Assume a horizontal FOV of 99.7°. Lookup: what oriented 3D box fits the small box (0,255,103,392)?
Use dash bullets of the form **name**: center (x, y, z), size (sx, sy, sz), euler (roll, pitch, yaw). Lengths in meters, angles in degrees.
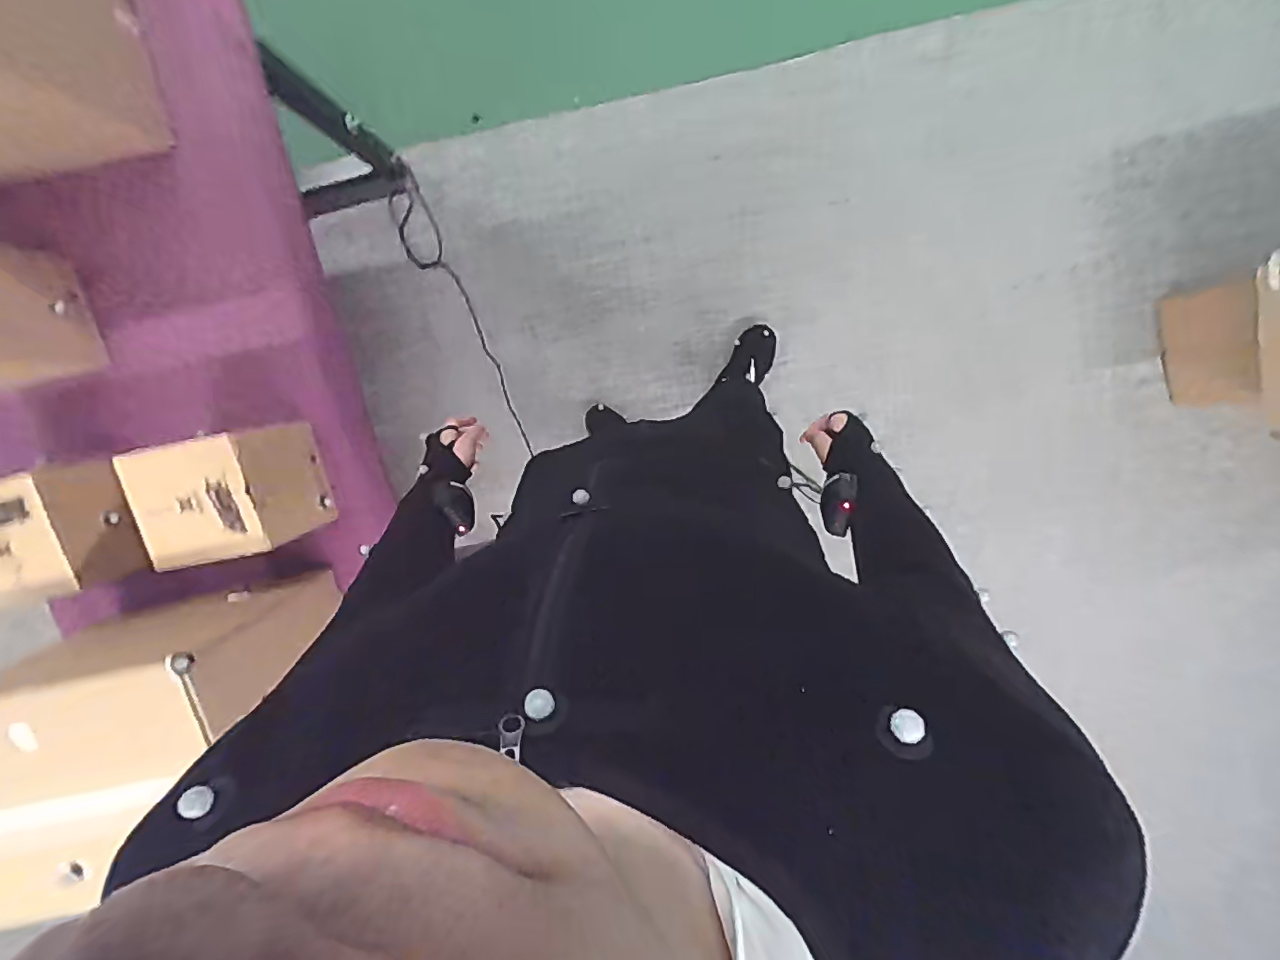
- **small box**: center (-0.945, -0.218, 0.767), size (0.179, 0.176, 0.168), euler (-11, 101, 3)
